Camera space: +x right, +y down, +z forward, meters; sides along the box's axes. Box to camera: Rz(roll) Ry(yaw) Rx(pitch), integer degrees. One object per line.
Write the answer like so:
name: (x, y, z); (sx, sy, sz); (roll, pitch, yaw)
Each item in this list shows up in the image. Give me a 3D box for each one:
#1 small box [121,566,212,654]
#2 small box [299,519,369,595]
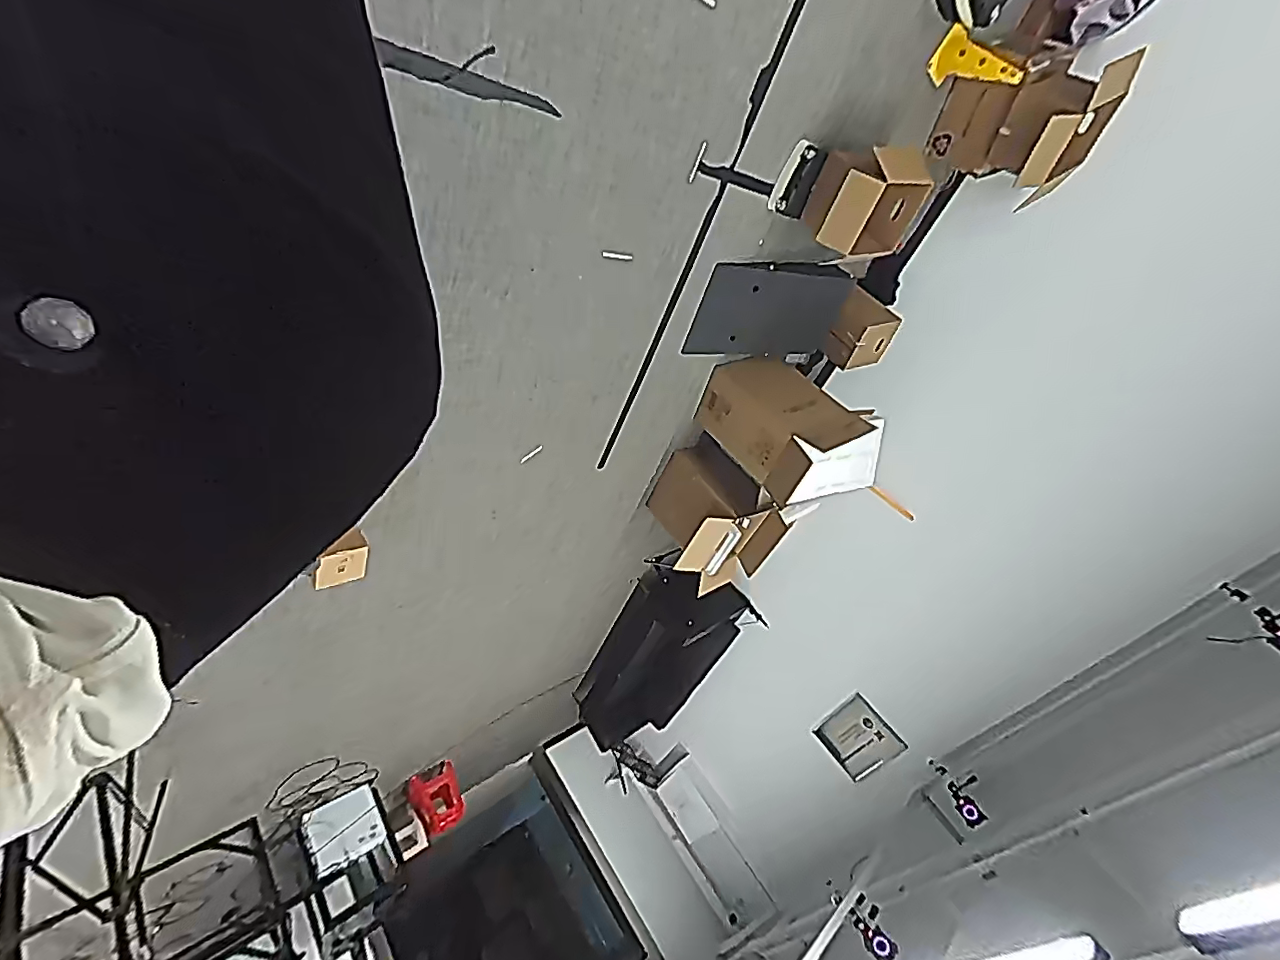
small box: (-1.418, 0.380, 1.621); (0.168, 0.176, 0.179); (-17, 145, -40)
small box: (-1.081, 0.267, 1.904); (0.168, 0.176, 0.179); (-15, 141, -45)
